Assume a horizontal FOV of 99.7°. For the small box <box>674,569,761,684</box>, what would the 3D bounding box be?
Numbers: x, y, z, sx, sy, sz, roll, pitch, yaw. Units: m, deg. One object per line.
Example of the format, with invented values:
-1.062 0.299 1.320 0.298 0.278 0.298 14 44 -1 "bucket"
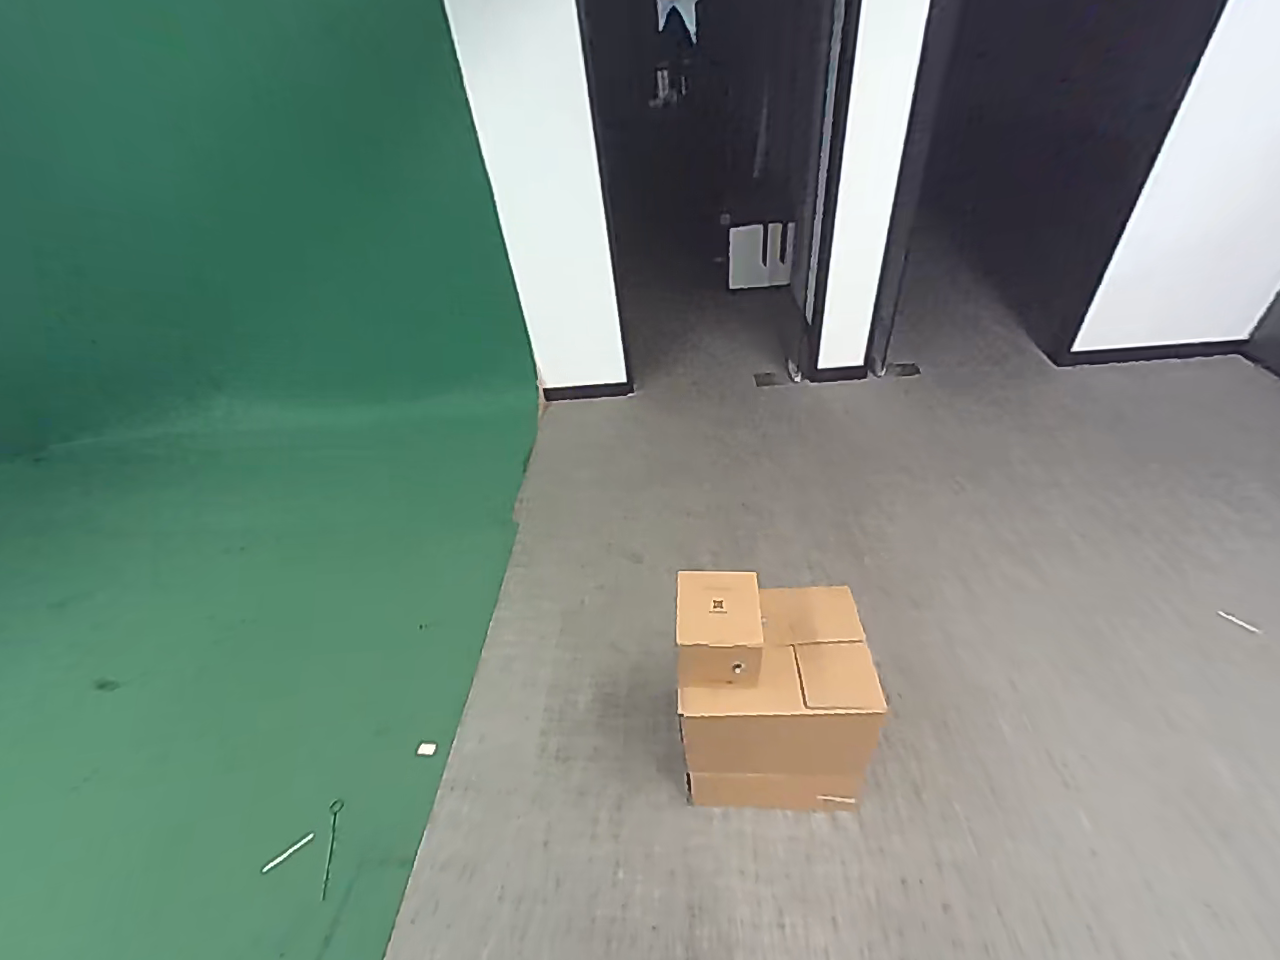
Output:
0.159 0.306 1.124 0.168 0.176 0.179 0 42 5 "small box"
